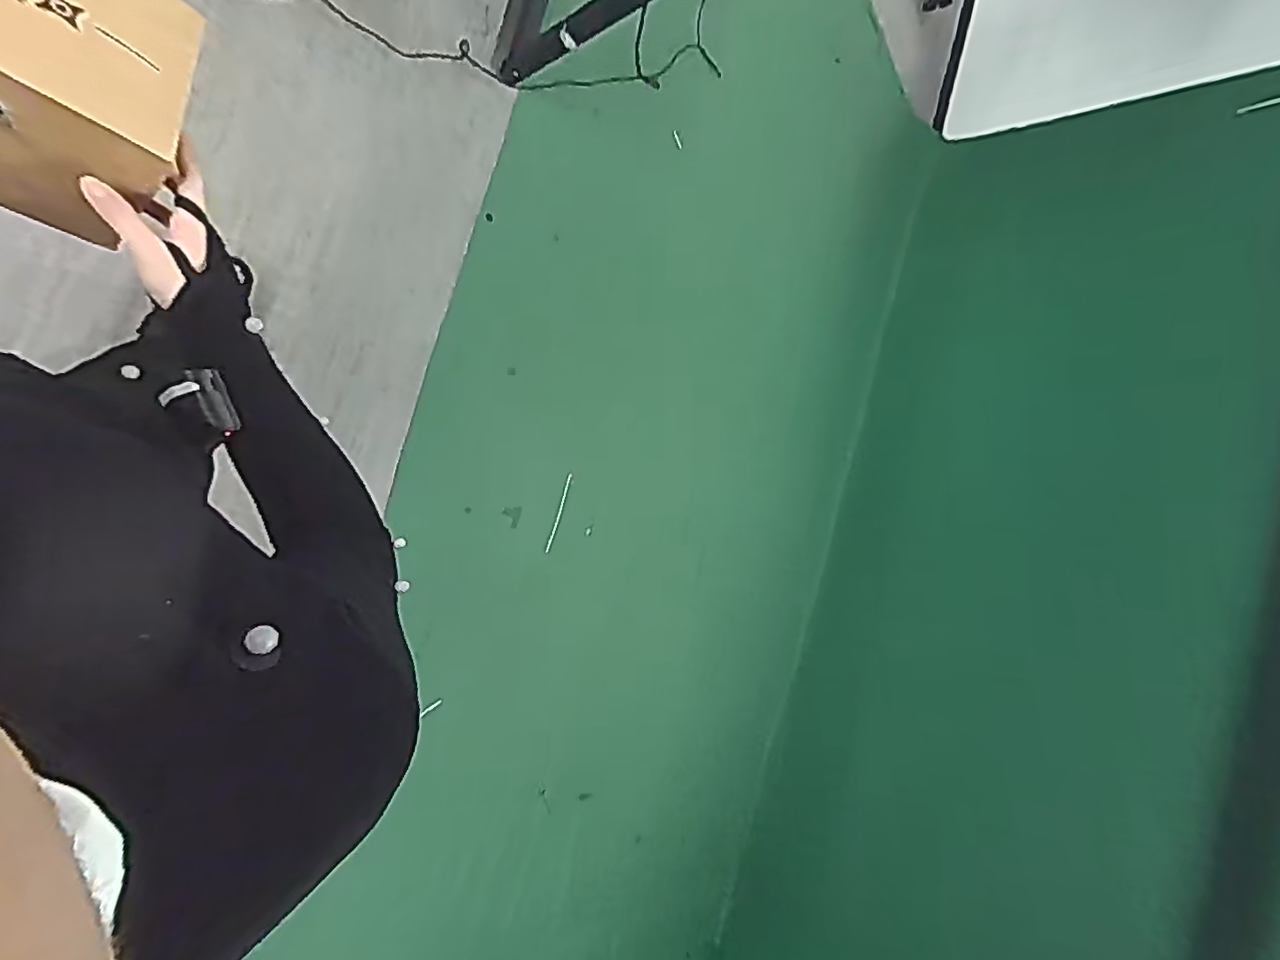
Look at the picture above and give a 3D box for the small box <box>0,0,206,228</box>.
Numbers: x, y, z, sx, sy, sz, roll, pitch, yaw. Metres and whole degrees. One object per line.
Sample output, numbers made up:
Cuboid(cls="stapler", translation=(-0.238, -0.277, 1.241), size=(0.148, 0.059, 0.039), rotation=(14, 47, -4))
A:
Cuboid(cls="small box", translation=(-0.498, -0.343, 0.434), size=(0.179, 0.176, 0.168), rotation=(20, 62, -52))
